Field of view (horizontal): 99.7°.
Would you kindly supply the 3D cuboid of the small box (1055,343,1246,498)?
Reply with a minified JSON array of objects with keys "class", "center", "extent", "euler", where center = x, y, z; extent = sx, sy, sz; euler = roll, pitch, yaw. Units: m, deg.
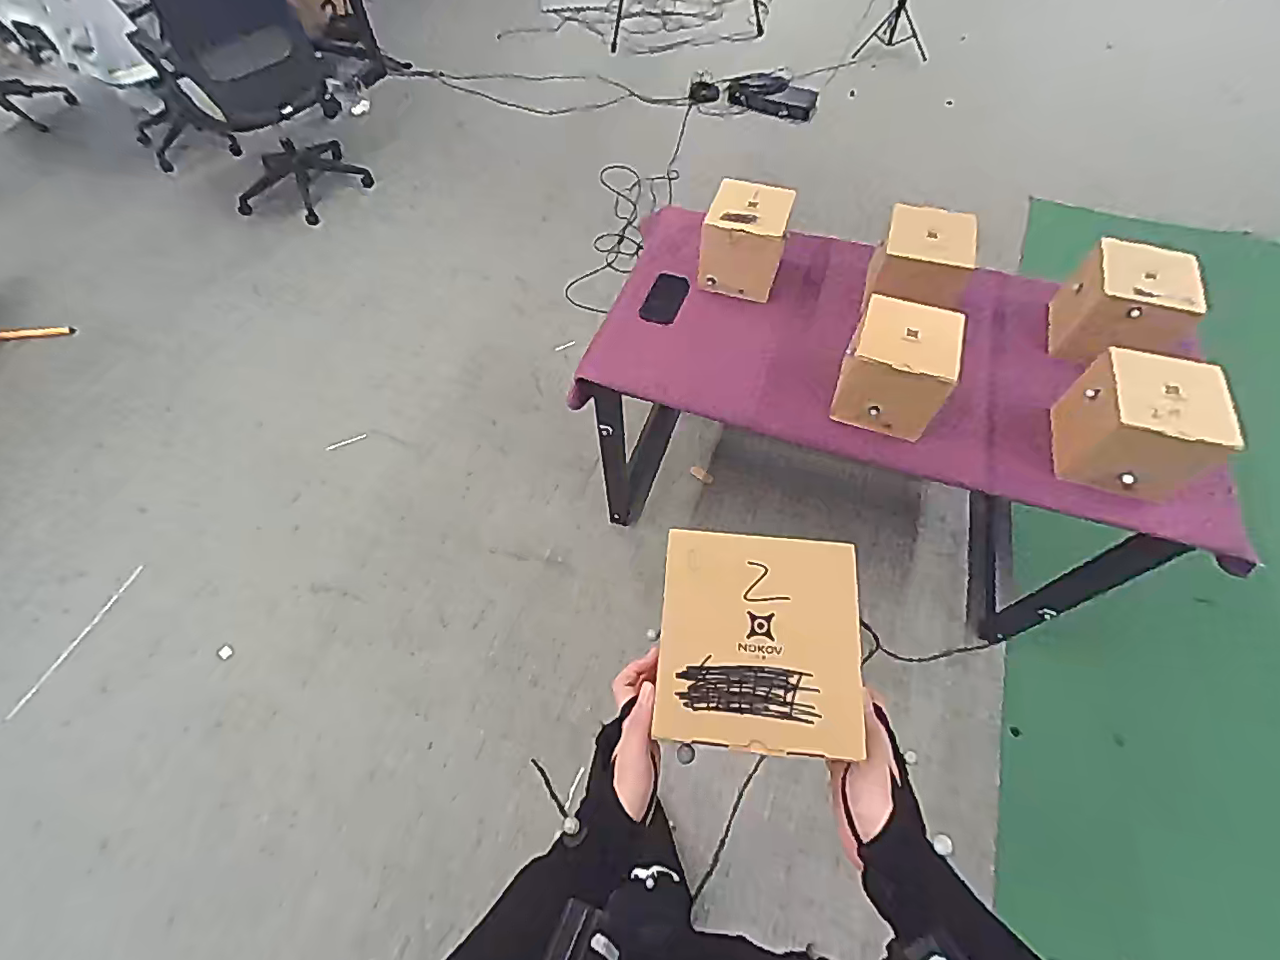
[{"class":"small box","center":[0.842,-0.098,0.916],"extent":[0.168,0.176,0.179],"euler":[15,60,12]}]

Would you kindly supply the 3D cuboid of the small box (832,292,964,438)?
[{"class":"small box","center":[0.470,-0.209,1.000],"extent":[0.168,0.176,0.179],"euler":[18,60,12]}]

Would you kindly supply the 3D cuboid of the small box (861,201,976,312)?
[{"class":"small box","center":[0.584,-0.453,1.147],"extent":[0.168,0.176,0.179],"euler":[16,61,12]}]

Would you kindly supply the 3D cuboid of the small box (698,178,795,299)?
[{"class":"small box","center":[0.231,-0.532,1.202],"extent":[0.168,0.176,0.179],"euler":[16,60,11]}]

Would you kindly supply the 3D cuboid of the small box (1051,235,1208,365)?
[{"class":"small box","center":[0.949,-0.345,1.069],"extent":[0.168,0.176,0.179],"euler":[17,60,13]}]
